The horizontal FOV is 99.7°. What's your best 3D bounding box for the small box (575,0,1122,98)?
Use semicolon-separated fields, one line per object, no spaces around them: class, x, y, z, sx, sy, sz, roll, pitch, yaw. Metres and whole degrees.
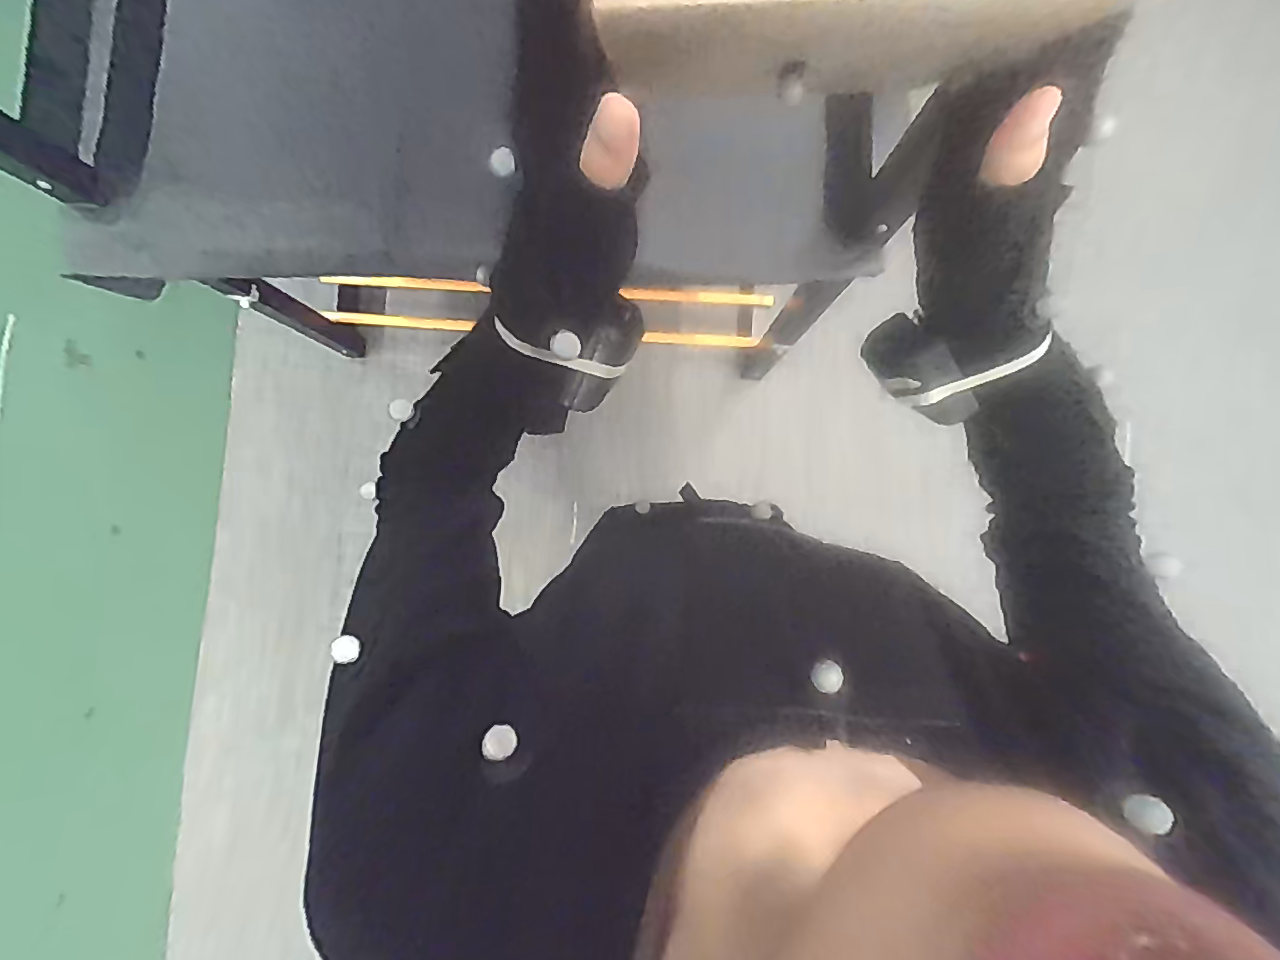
small box;0.064;-0.250;0.193;0.168;0.176;0.179;-1;118;2
